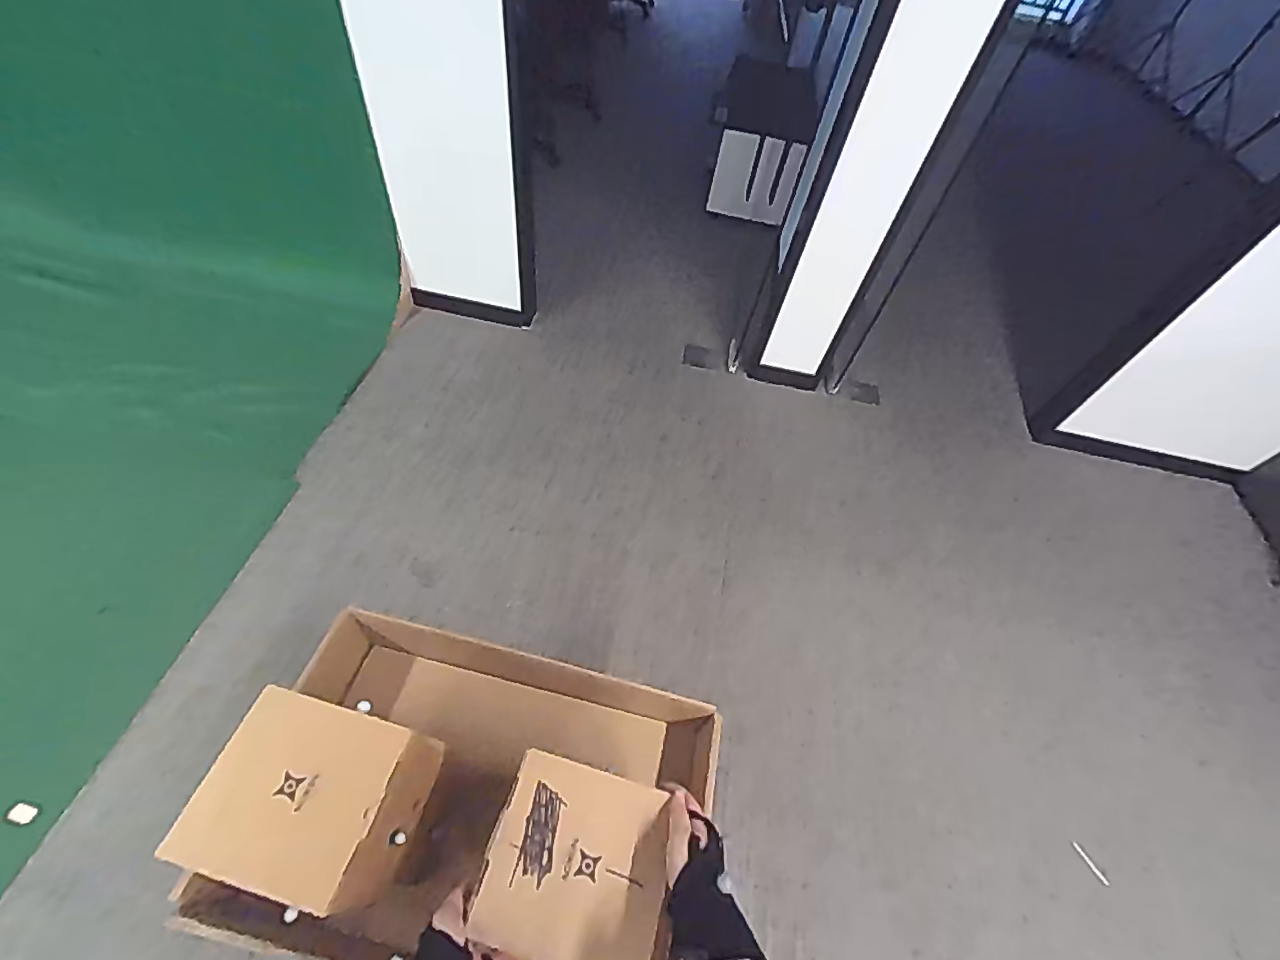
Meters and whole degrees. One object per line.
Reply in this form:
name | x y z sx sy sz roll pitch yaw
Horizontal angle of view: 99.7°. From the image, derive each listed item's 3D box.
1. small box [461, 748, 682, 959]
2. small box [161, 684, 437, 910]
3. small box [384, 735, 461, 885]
small box | -0.069 0.419 0.597 0.179 0.176 0.168 18 57 3
small box | -0.357 0.358 0.611 0.179 0.176 0.168 16 53 3
small box | -0.372 0.443 0.750 0.179 0.176 0.168 16 53 2
